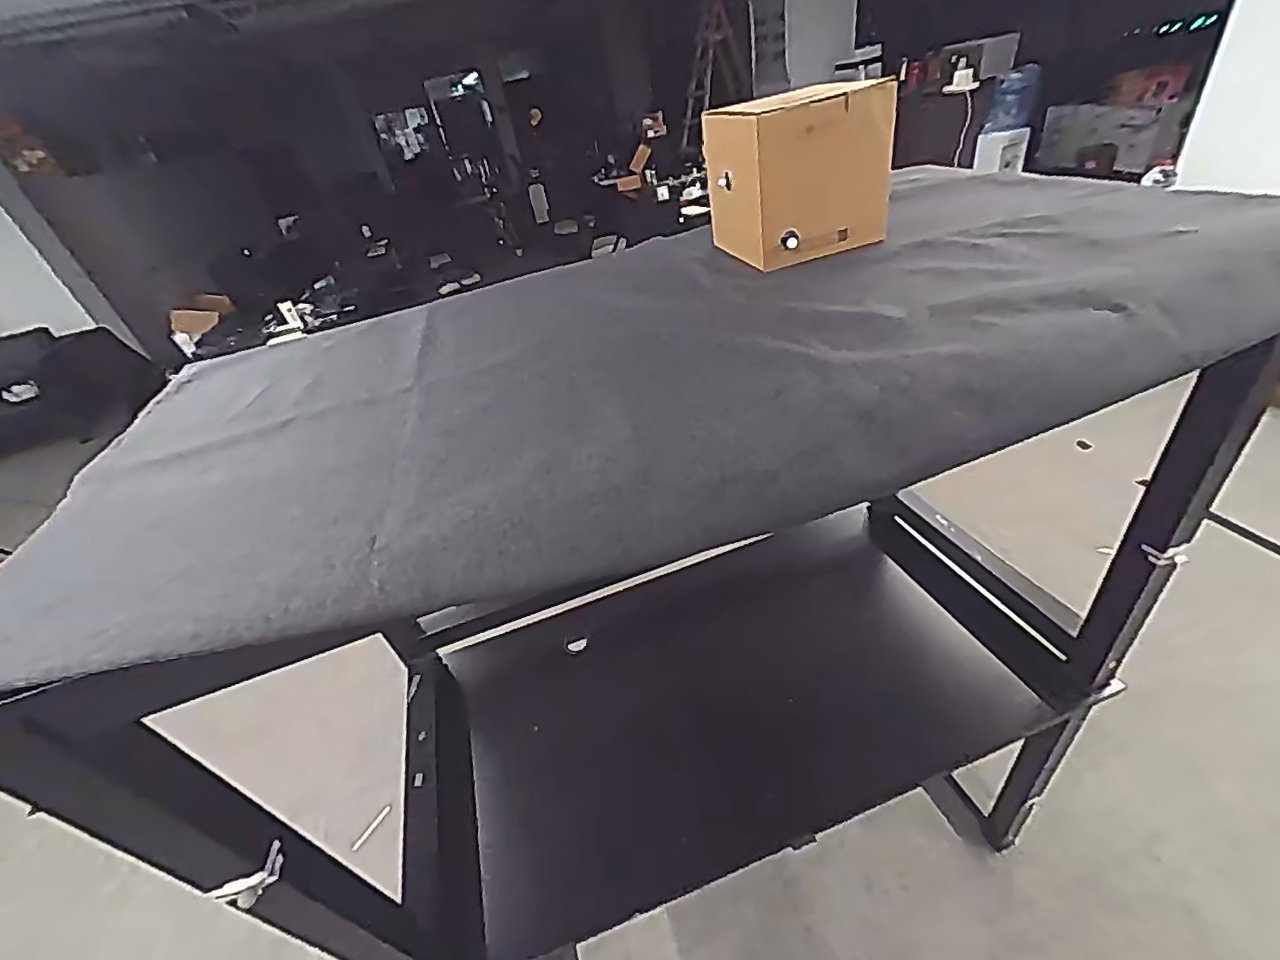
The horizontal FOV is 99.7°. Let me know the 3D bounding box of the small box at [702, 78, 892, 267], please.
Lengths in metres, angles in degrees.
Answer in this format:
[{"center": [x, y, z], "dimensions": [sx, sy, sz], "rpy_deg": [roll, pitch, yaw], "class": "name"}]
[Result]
[{"center": [0.193, -0.386, 0.688], "dimensions": [0.168, 0.176, 0.179], "rpy_deg": [-17, 35, -6], "class": "small box"}]
